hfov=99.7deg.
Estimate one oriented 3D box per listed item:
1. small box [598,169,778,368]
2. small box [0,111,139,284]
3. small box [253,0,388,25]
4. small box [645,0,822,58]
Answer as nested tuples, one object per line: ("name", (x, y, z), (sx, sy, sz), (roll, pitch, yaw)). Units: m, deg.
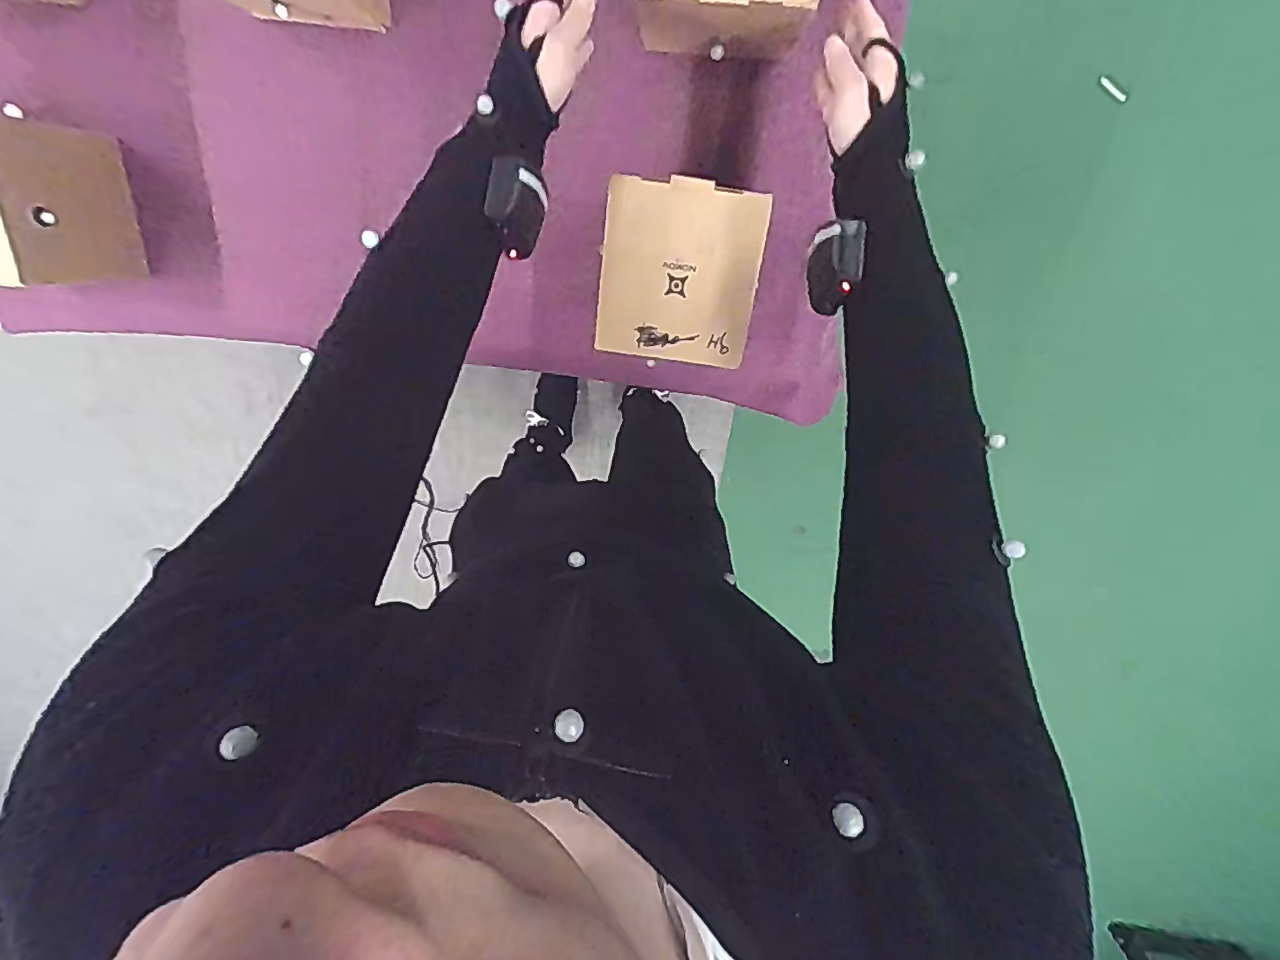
("small box", (0.050, -0.244, 0.638), (0.168, 0.176, 0.179), (9, 112, 1))
("small box", (-0.761, -0.340, 0.645), (0.168, 0.176, 0.179), (7, 113, 0))
("small box", (-0.363, -0.581, 0.517), (0.168, 0.176, 0.179), (6, 115, 0))
("small box", (0.091, -0.532, 0.507), (0.168, 0.176, 0.179), (6, 116, 3))
